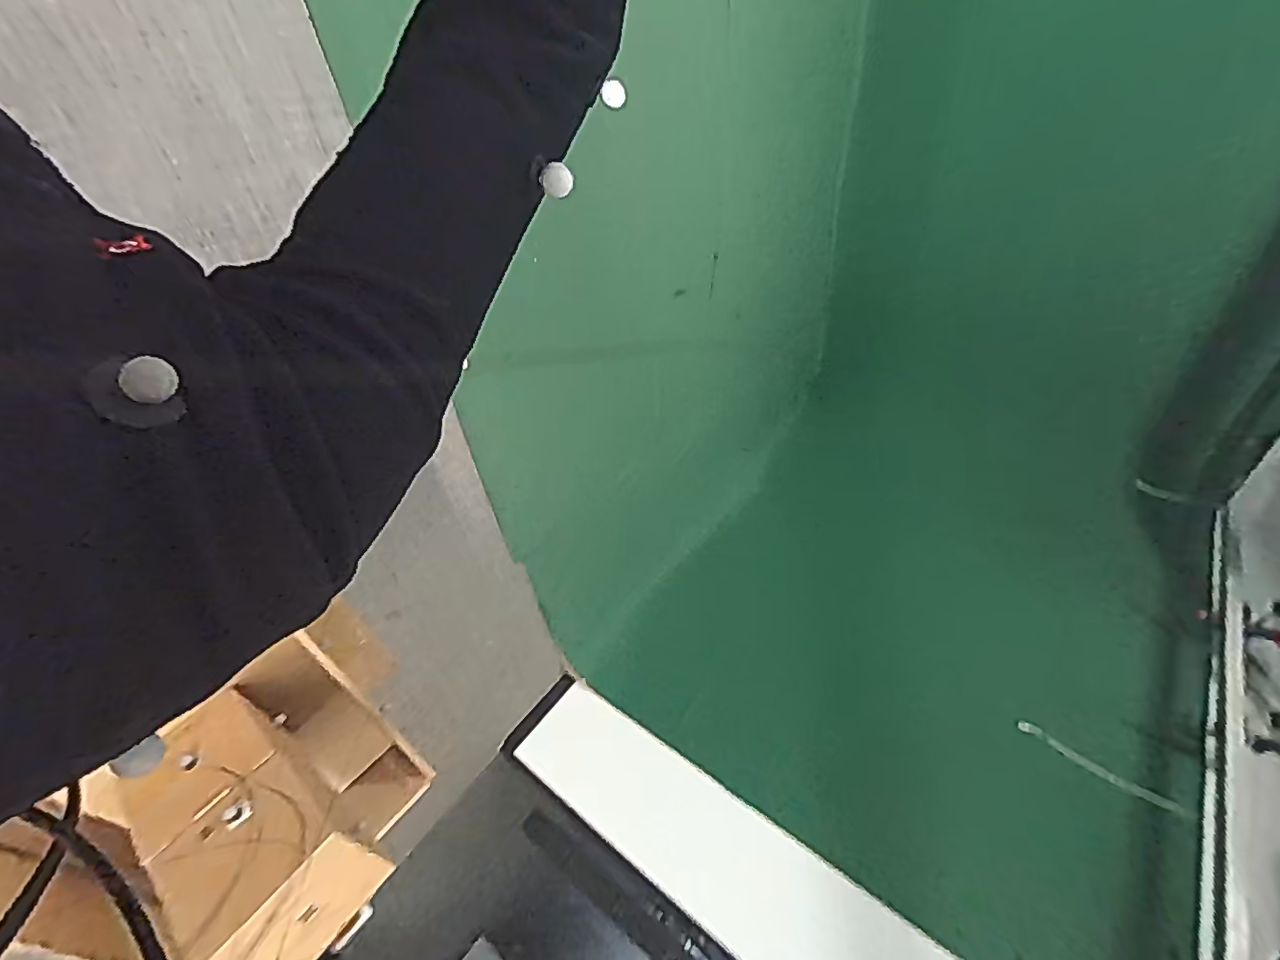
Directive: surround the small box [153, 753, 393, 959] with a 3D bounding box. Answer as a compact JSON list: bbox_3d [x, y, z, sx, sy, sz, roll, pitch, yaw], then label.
[{"bbox_3d":[-0.471,0.497,0.709,0.168,0.176,0.179,-45,142,-32],"label":"small box"}]
